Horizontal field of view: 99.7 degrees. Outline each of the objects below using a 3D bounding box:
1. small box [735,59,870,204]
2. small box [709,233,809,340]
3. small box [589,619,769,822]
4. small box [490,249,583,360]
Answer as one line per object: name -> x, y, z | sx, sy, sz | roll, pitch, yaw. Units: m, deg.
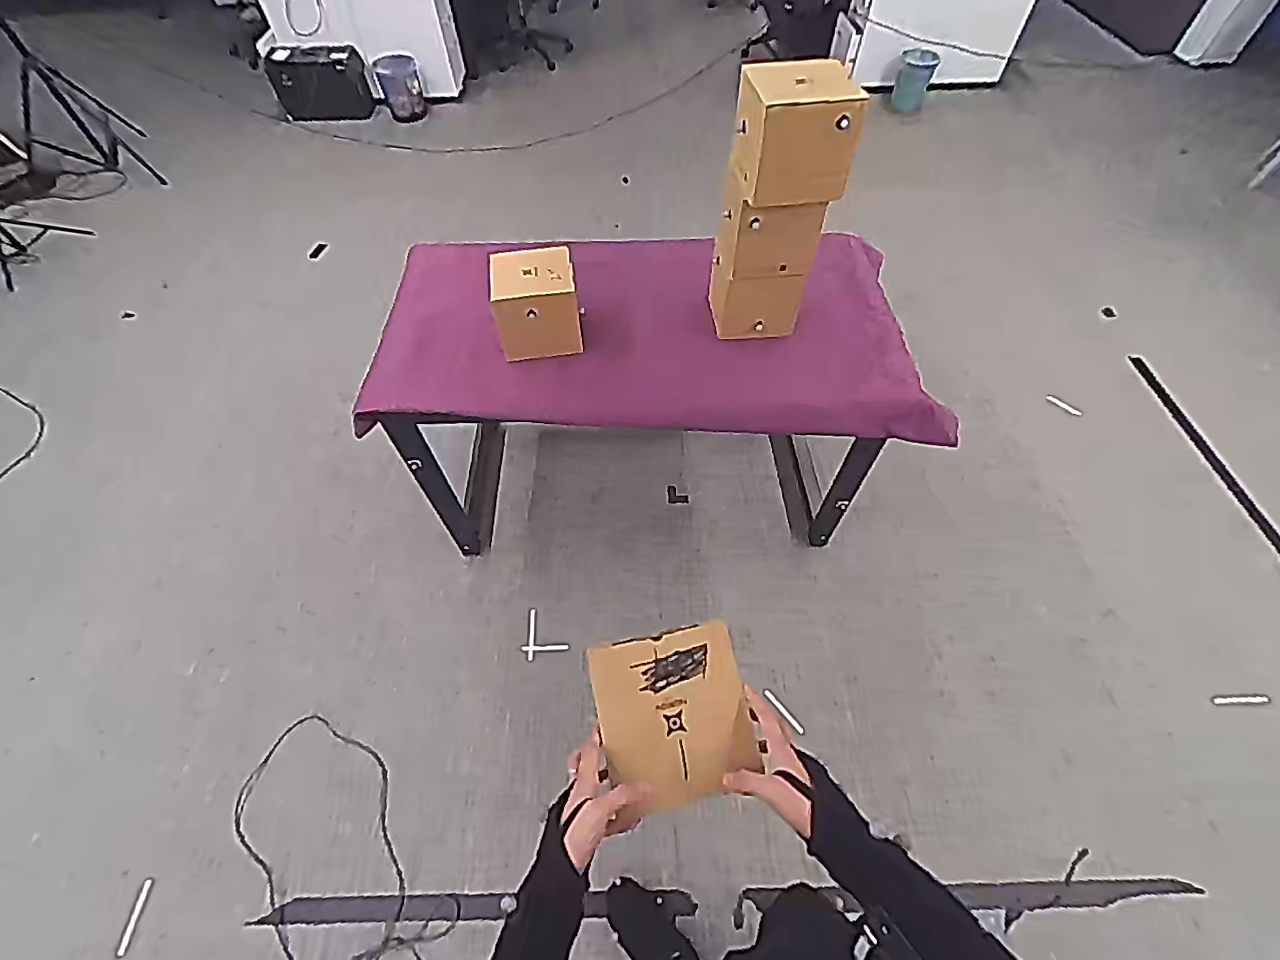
small box -> 0.271, -0.611, 0.957 | 0.179, 0.176, 0.168 | -7, 55, -4
small box -> 0.264, -0.440, 1.238 | 0.179, 0.176, 0.168 | -4, 55, -2
small box -> 0.035, 0.282, 0.656 | 0.168, 0.176, 0.179 | -11, 70, -6
small box -> -0.228, -0.386, 1.206 | 0.179, 0.176, 0.168 | -8, 55, -5
